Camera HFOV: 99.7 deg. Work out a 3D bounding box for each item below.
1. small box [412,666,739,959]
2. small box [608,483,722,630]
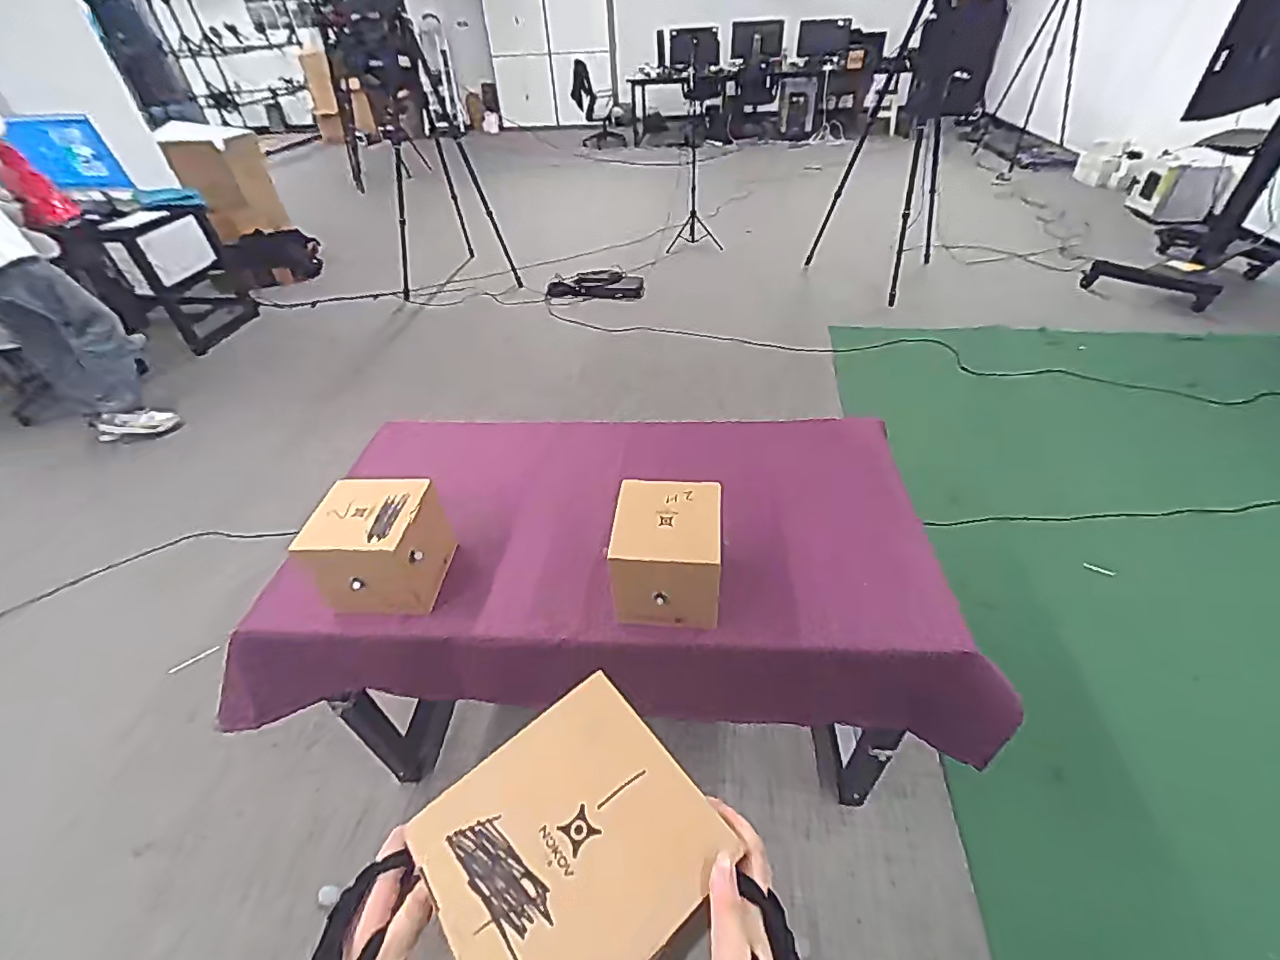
[{"bbox_3d":[-0.039,0.293,0.424,0.179,0.176,0.168,-32,50,-23],"label":"small box"},{"bbox_3d":[0.048,0.126,0.891,0.168,0.176,0.179,3,42,7],"label":"small box"}]
